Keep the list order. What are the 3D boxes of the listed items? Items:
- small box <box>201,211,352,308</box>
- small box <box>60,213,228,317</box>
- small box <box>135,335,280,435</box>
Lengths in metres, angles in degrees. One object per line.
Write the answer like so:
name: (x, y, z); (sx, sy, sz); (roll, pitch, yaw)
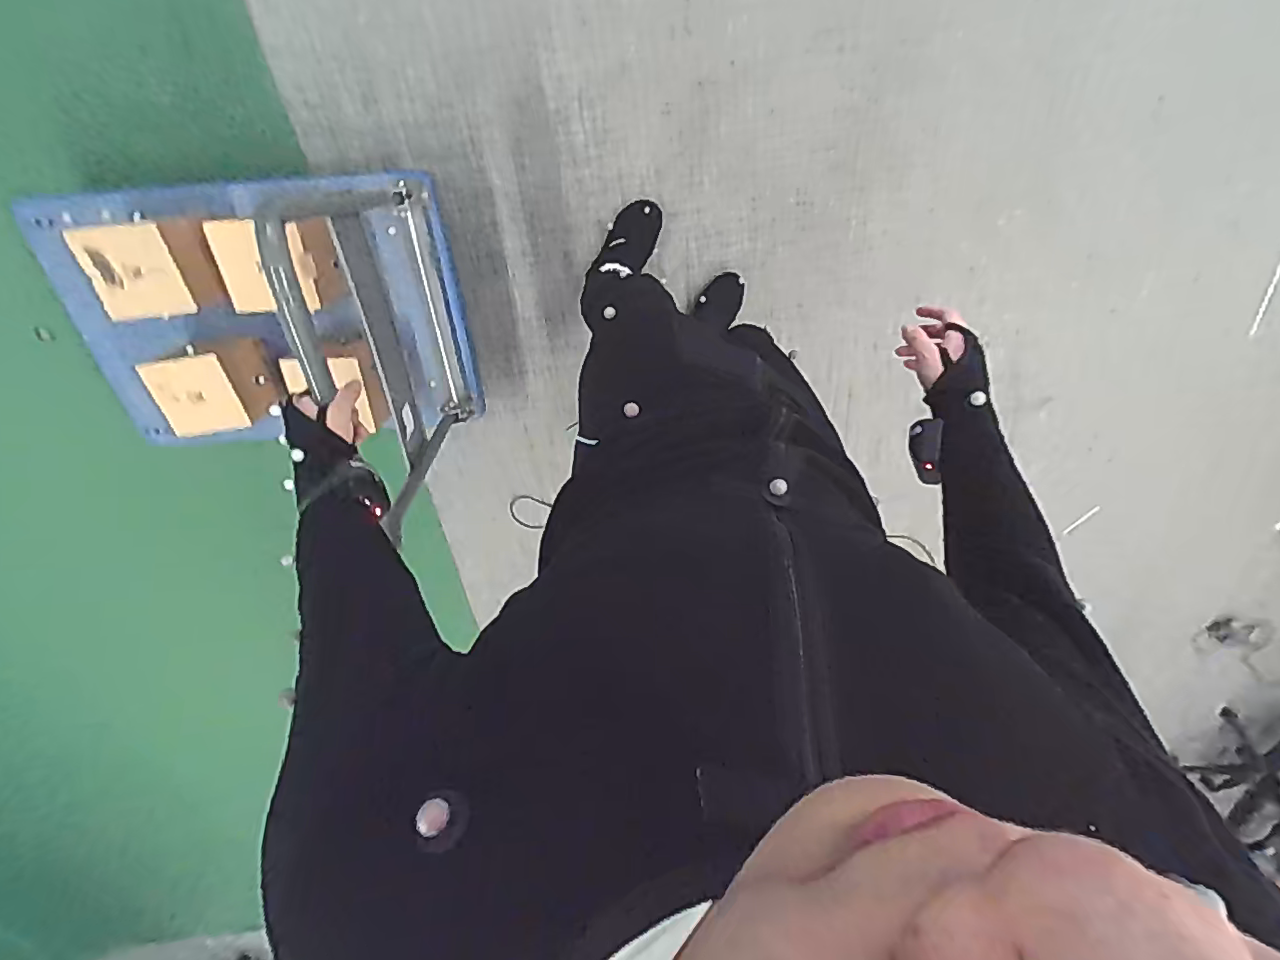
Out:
small box: (-0.731, -0.455, 1.110); (0.179, 0.176, 0.168); (-4, 120, -3)
small box: (-0.979, -0.441, 1.100); (0.179, 0.176, 0.168); (-7, 121, -1)
small box: (-0.962, -0.222, 1.230); (0.179, 0.176, 0.168); (-8, 120, 1)
